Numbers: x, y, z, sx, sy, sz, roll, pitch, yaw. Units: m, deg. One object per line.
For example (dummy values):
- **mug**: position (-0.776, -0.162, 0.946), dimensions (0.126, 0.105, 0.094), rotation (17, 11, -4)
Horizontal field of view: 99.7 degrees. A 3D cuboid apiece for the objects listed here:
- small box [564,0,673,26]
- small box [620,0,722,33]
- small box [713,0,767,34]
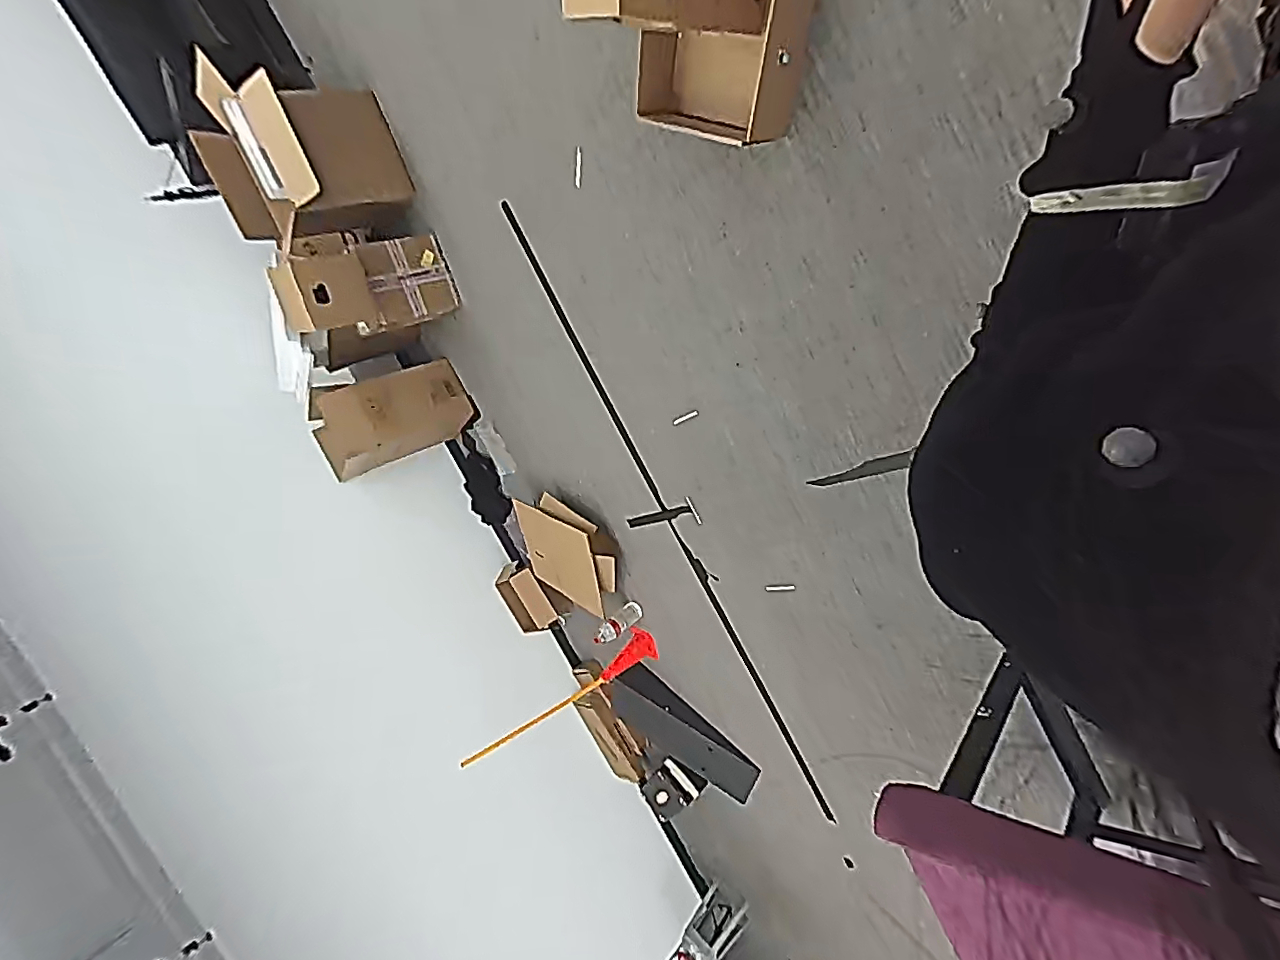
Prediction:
- **small box**: position (-0.039, -1.037, 1.094), dimensions (0.179, 0.176, 0.168), rotation (31, 135, 33)
- **small box**: position (0.075, -1.103, 1.194), dimensions (0.179, 0.176, 0.168), rotation (32, 136, 33)
- **small box**: position (0.190, -1.176, 1.283), dimensions (0.179, 0.176, 0.168), rotation (34, 138, 29)
